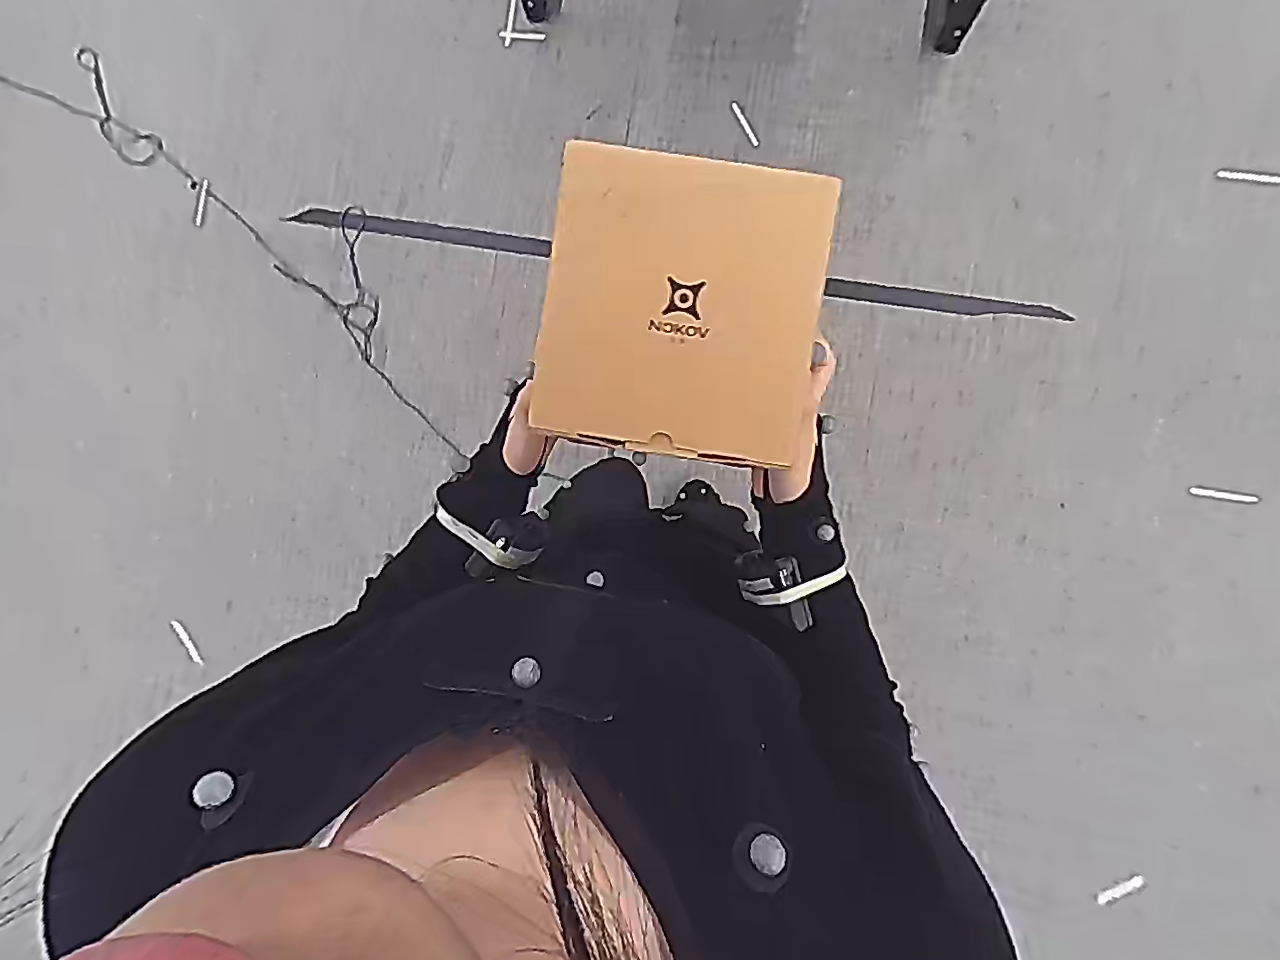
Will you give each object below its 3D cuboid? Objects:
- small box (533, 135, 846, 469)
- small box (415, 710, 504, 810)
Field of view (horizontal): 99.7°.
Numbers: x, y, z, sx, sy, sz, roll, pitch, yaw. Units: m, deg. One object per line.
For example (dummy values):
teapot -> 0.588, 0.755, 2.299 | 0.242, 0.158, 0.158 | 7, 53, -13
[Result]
small box -> 0.029, -0.107, 0.397 | 0.168, 0.176, 0.179 | 8, 93, 0
small box -> -0.462, 0.720, 1.410 | 0.168, 0.176, 0.179 | 3, 89, 5
